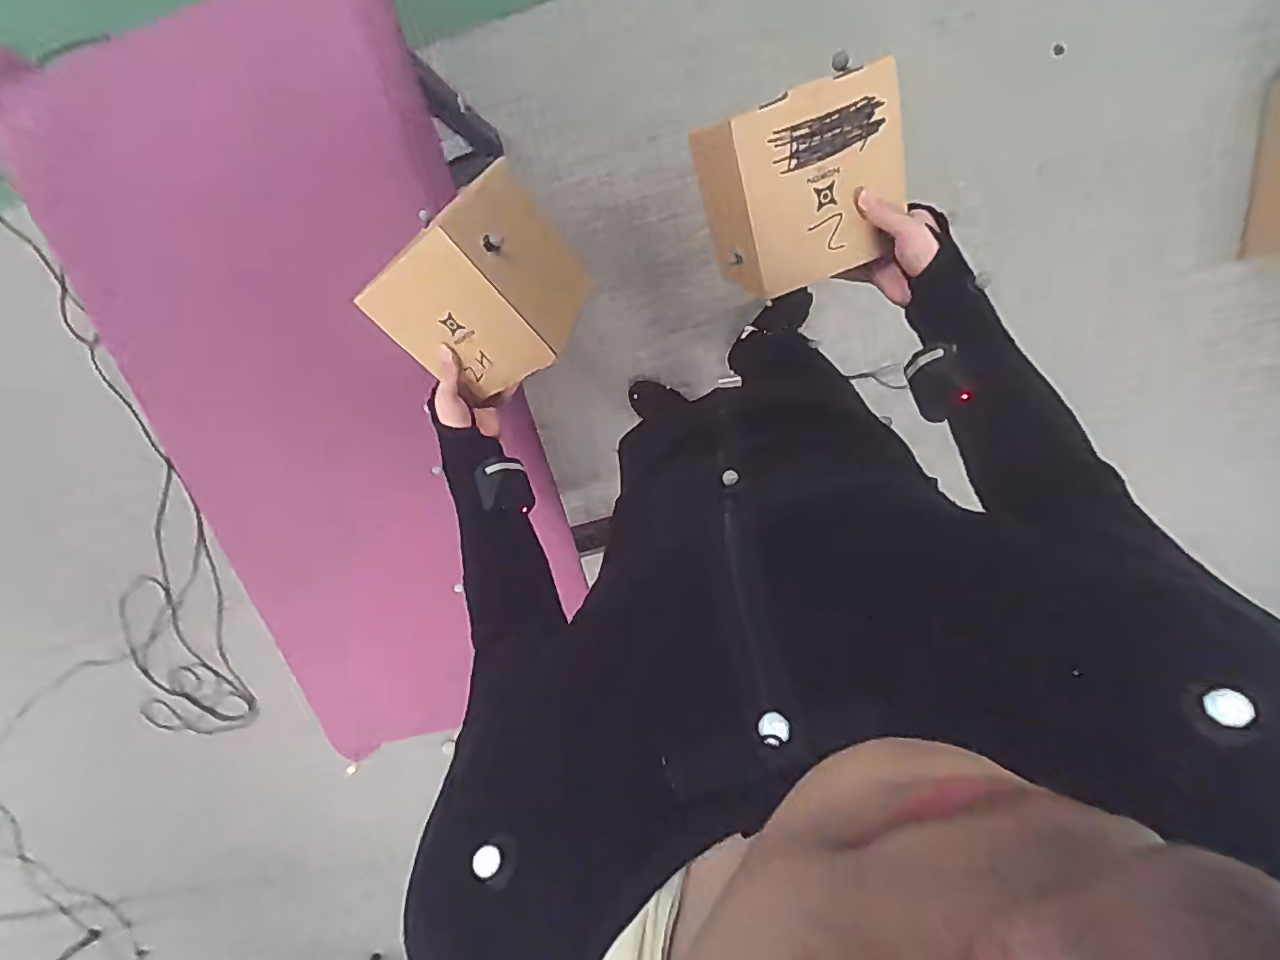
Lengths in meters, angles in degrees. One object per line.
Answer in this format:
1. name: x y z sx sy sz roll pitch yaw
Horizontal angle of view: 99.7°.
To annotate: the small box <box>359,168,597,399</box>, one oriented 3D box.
1. small box: -0.179 -0.234 0.640 0.168 0.176 0.179 -17 131 35
